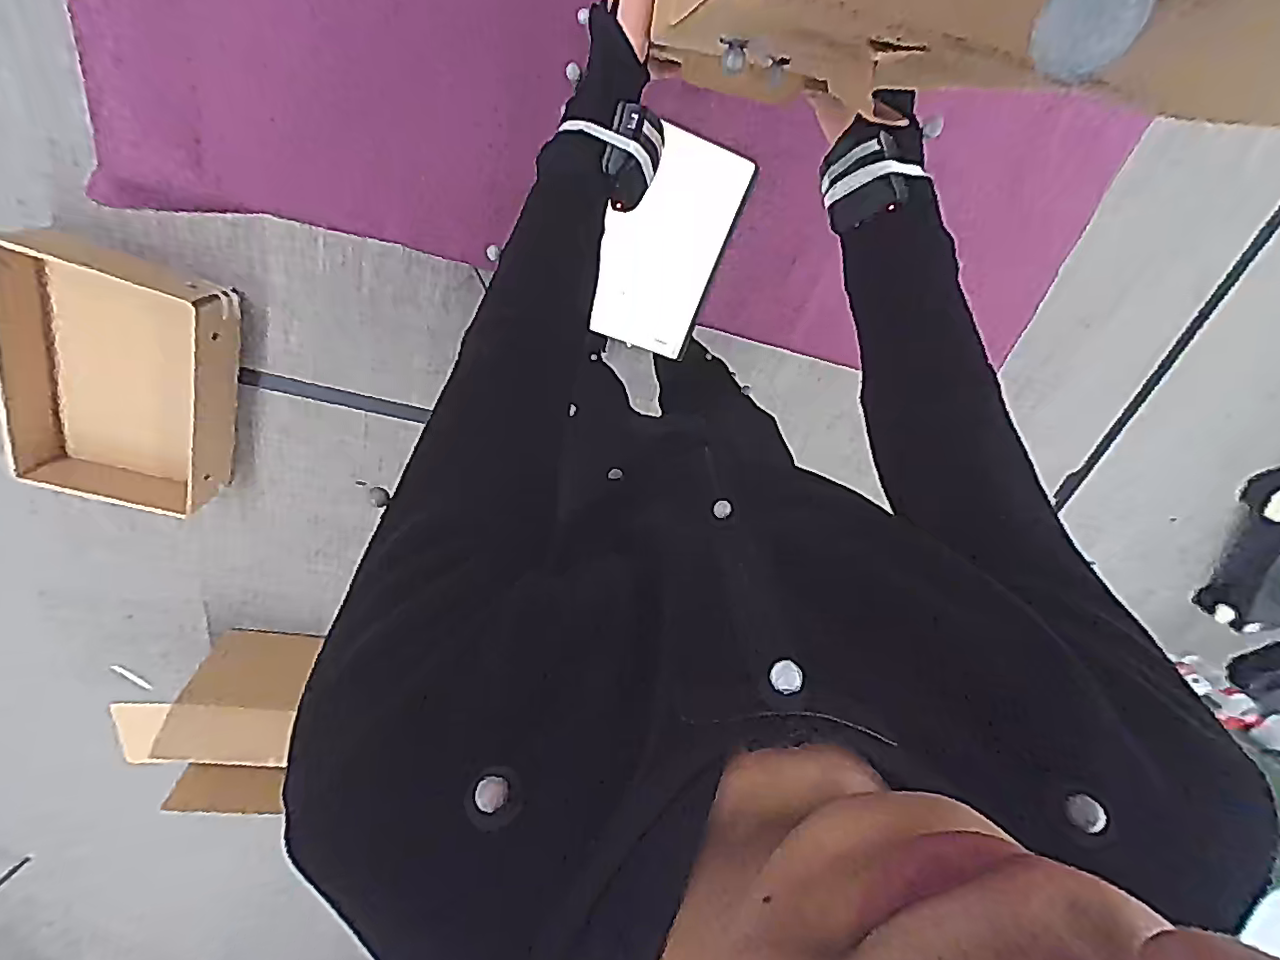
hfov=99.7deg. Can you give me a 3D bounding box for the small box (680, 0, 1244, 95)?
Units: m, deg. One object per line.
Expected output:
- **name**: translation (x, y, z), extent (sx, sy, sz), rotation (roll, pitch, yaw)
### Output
- **small box**: translation (0.111, -0.253, 0.185), extent (0.168, 0.176, 0.179), rotation (5, 125, -8)

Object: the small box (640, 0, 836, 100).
- **small box**: translation (0.096, -0.444, 0.453), extent (0.168, 0.176, 0.179), rotation (8, 125, -9)

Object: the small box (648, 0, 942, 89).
- **small box**: translation (0.105, -0.347, 0.320), extent (0.179, 0.176, 0.168), rotation (6, 126, -9)
